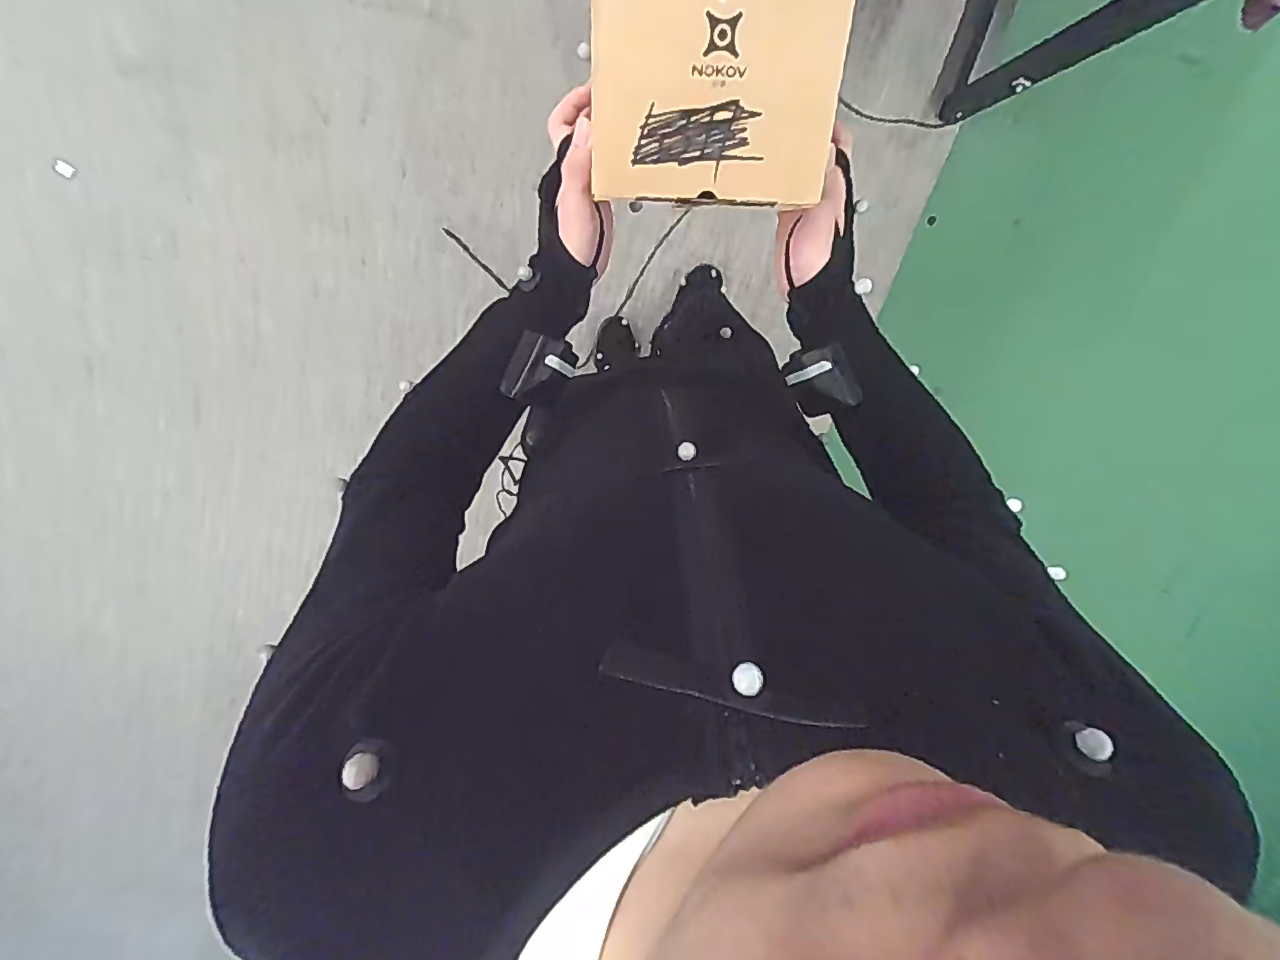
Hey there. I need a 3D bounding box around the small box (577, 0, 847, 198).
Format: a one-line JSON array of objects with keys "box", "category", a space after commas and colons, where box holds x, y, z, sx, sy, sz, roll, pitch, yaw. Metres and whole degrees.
[{"box": [0.044, -0.316, 0.405, 0.168, 0.176, 0.179, 1, 119, -1], "category": "small box"}]
